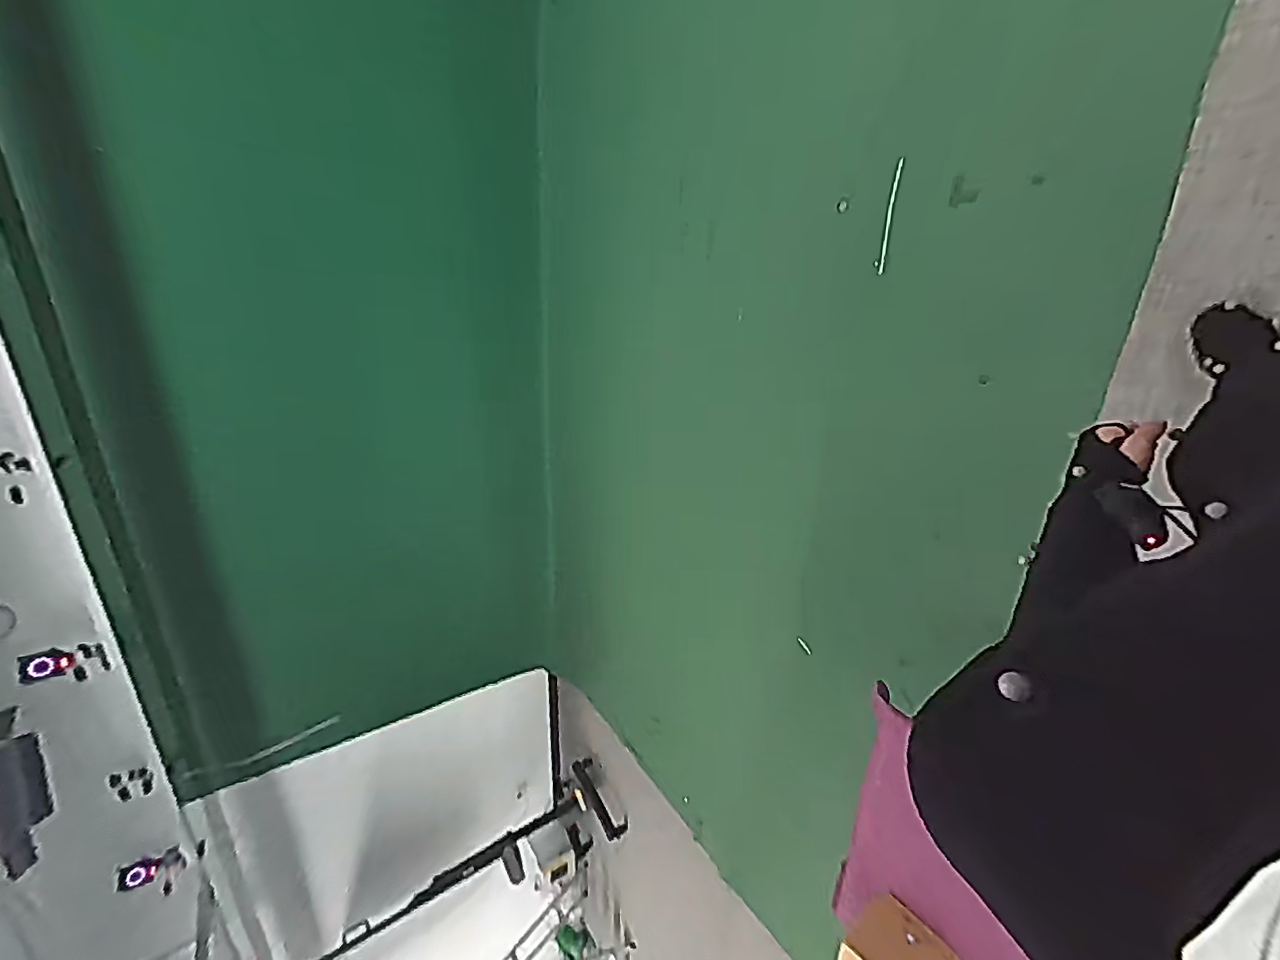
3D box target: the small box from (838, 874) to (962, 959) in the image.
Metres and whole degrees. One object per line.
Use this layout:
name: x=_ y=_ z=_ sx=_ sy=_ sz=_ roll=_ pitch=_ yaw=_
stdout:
small box: x=0.544 y=0.997 z=1.138 sx=0.168 sy=0.176 sz=0.179 roll=26 pitch=121 yaw=49
